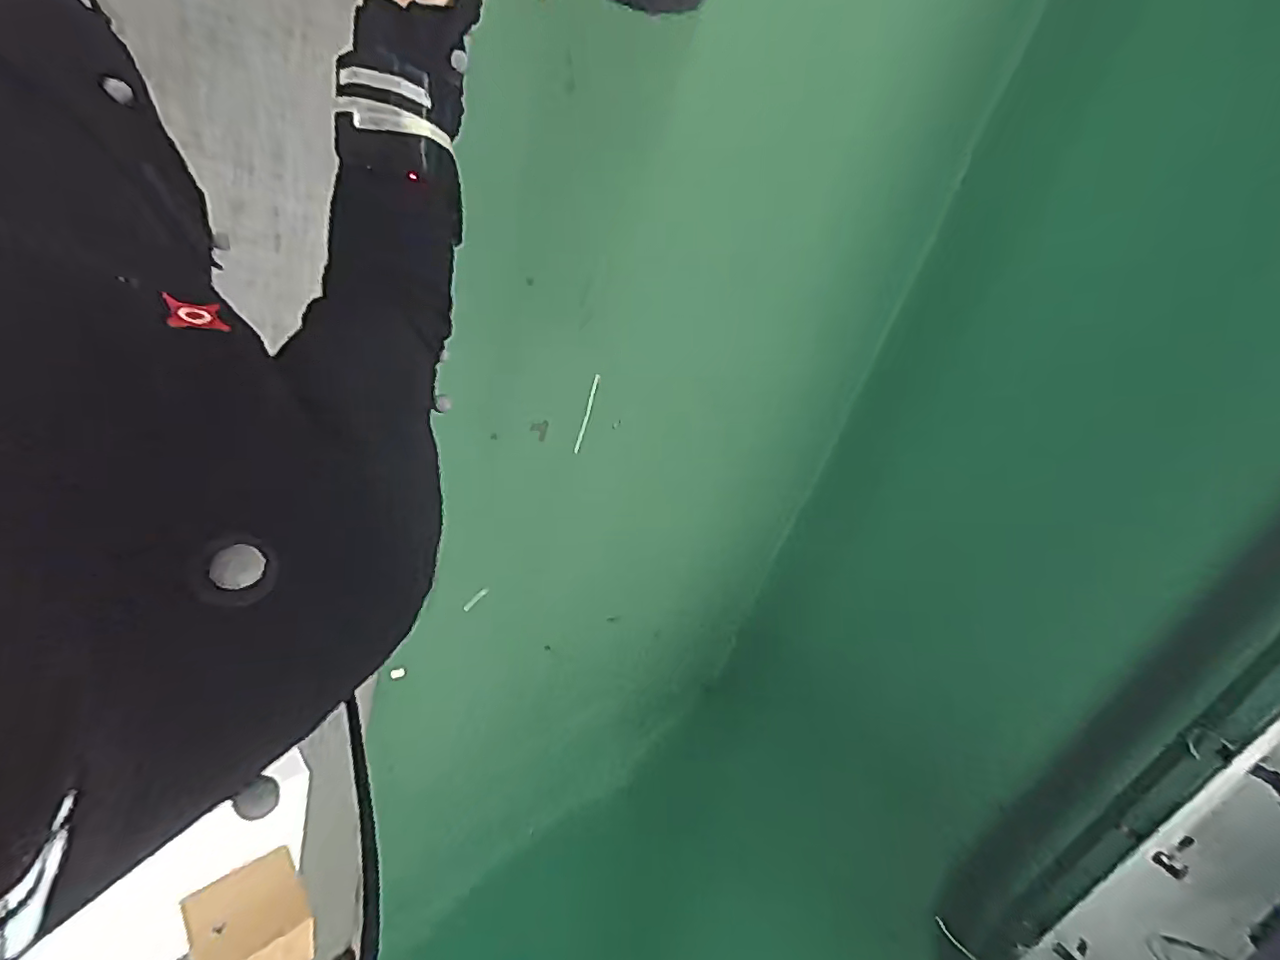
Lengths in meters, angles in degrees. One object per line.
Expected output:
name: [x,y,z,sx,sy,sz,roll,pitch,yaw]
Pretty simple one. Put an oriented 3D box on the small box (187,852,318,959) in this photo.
small box: [-0.744,0.880,1.040,0.179,0.176,0.168,-13,128,-46]
